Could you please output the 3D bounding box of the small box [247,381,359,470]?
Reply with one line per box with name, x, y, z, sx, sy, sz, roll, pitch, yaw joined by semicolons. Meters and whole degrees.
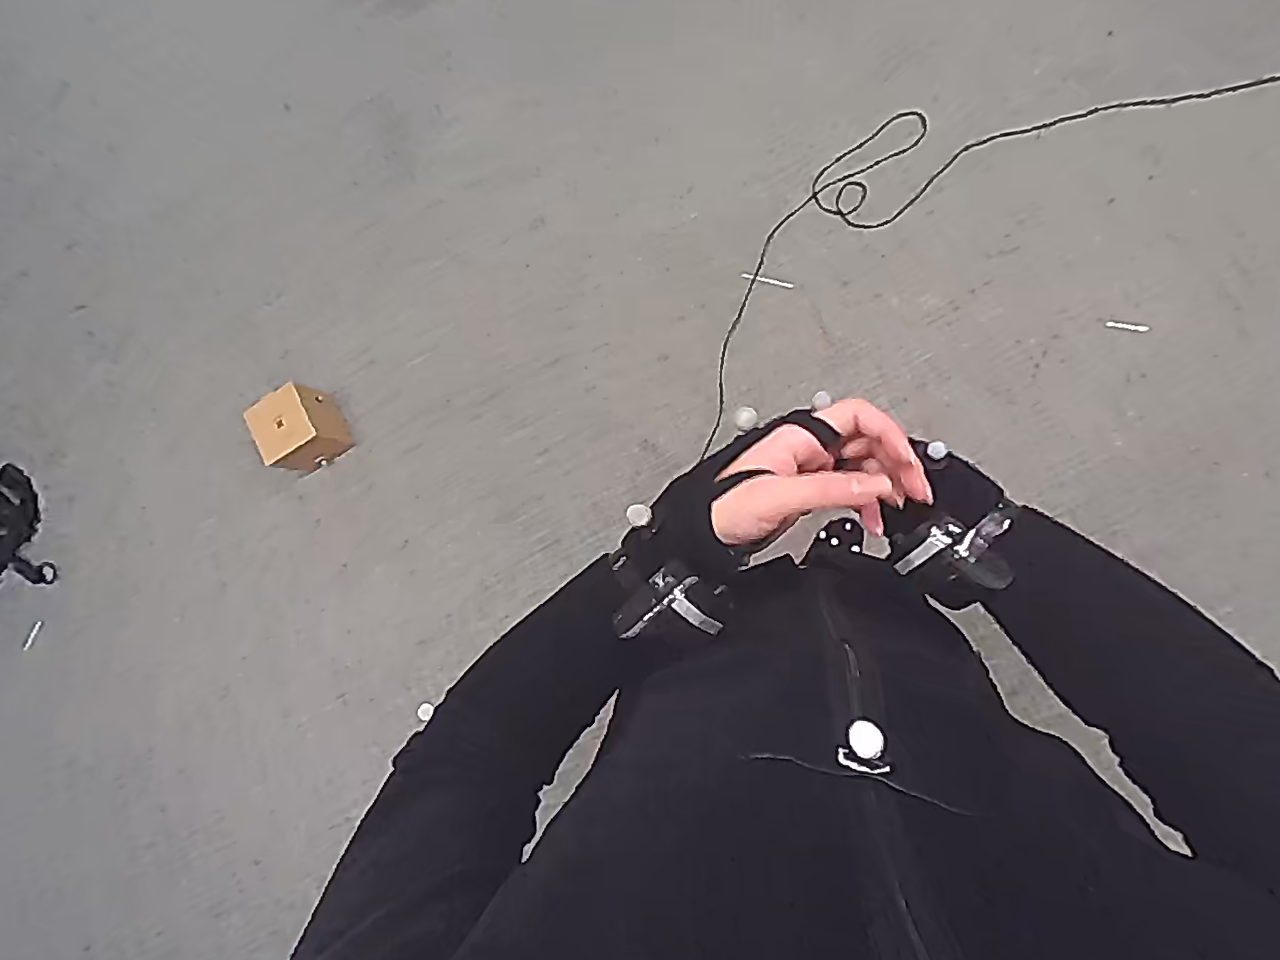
small box;-0.932;-0.143;1.508;0.168;0.176;0.179;-31;82;4
